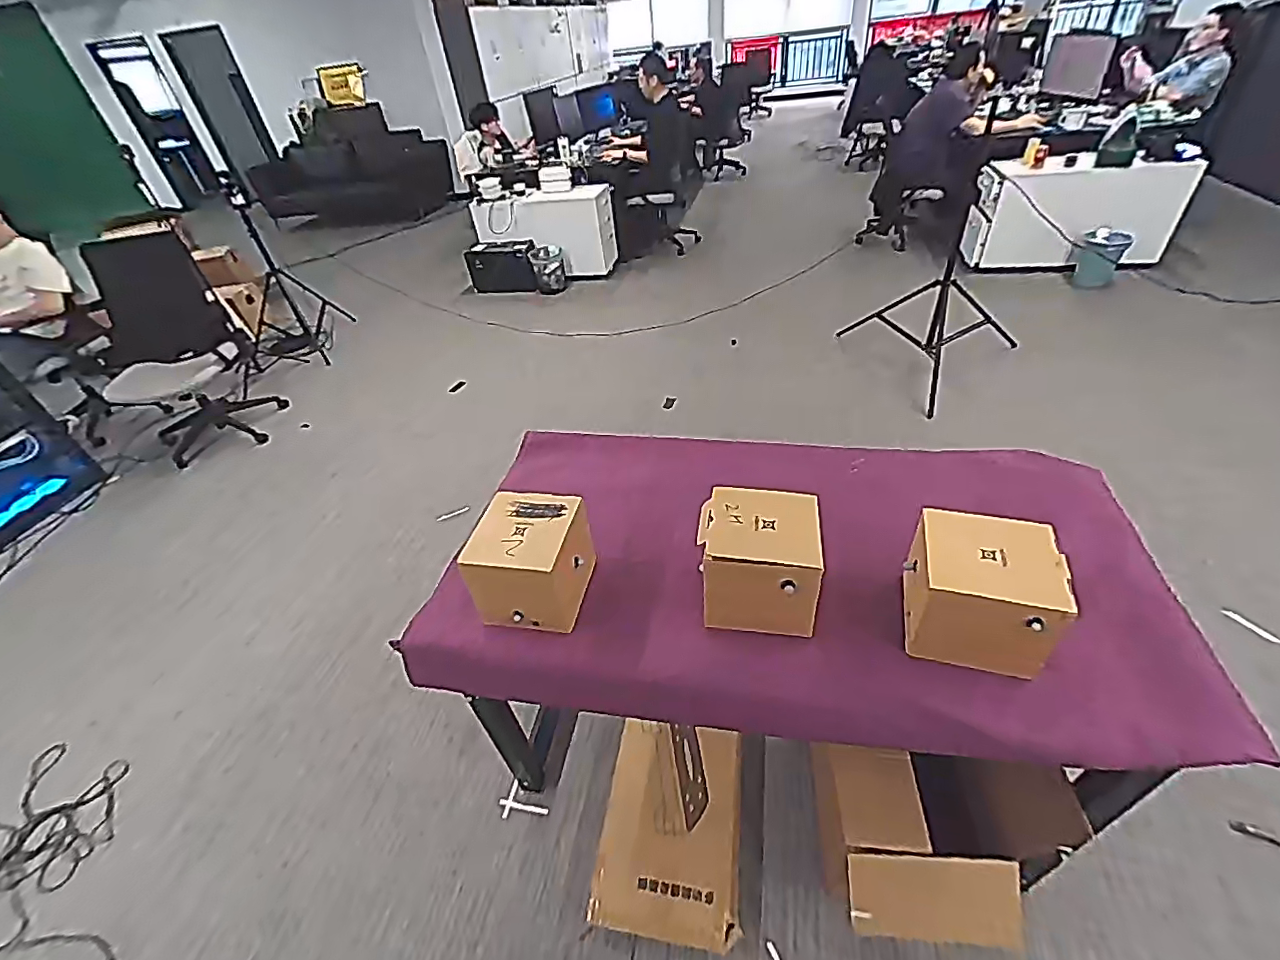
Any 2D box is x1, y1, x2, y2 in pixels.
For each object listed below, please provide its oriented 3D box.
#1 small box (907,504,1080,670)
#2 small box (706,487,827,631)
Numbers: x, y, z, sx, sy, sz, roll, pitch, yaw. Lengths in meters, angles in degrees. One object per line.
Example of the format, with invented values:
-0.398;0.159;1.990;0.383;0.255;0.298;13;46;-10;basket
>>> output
0.511;0.161;0.817;0.179;0.176;0.168;8;42;17;small box
0.205;0.131;0.900;0.179;0.176;0.168;2;39;12;small box
